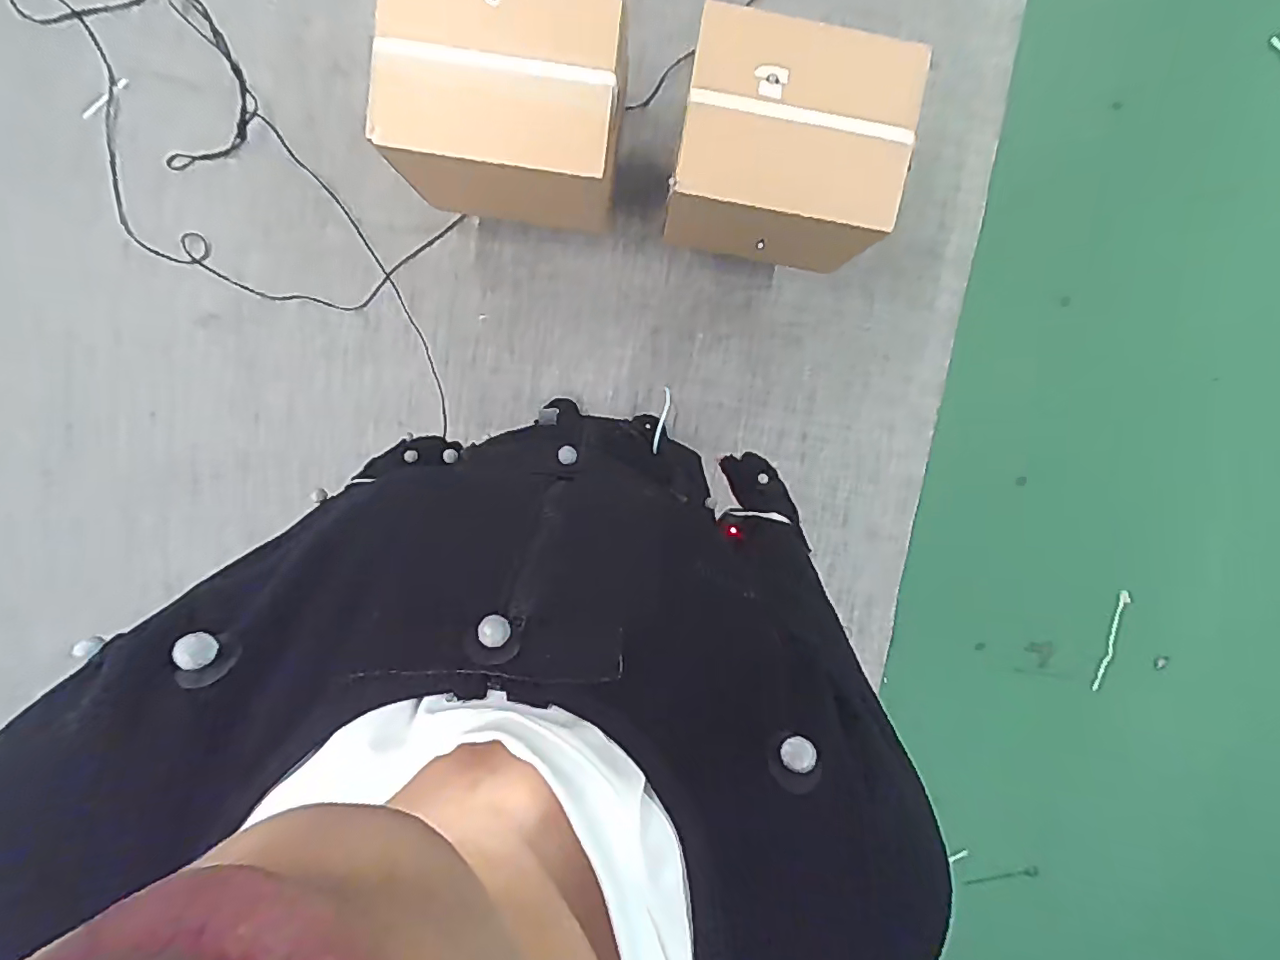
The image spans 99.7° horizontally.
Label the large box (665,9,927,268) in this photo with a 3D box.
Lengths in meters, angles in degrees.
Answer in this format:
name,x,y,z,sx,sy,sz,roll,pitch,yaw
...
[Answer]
name,x,y,z,sx,sy,sz,roll,pitch,yaw
large box,0.282,-0.652,1.103,0.408,0.320,0.320,10,97,-3
